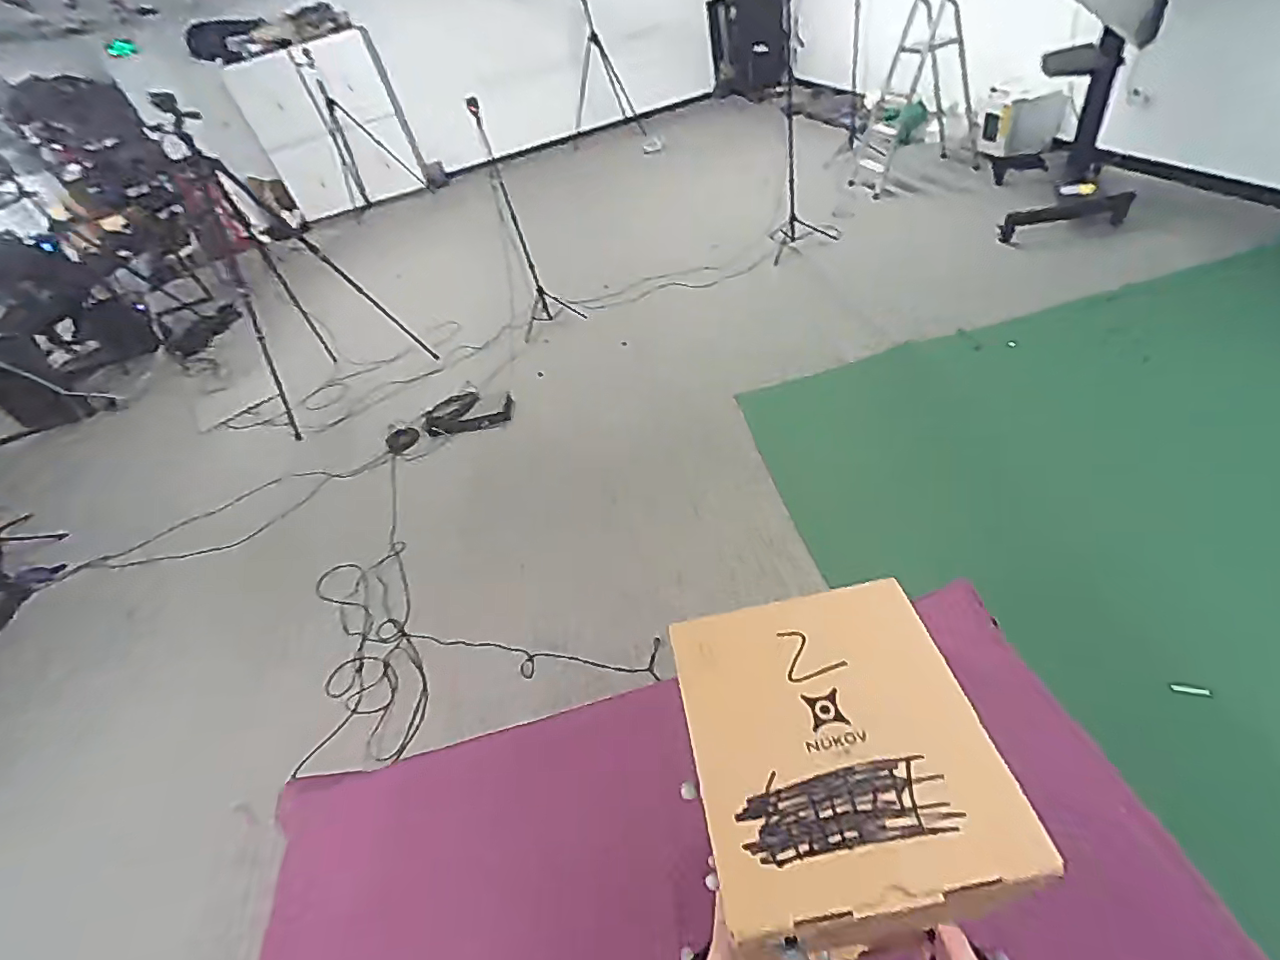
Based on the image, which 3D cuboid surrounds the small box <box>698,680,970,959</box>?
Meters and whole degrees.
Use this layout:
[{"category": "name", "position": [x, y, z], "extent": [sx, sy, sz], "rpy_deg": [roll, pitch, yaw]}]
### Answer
[{"category": "small box", "position": [0.149, 0.310, 0.487], "extent": [0.168, 0.176, 0.179], "rpy_deg": [-10, 45, 1]}]
